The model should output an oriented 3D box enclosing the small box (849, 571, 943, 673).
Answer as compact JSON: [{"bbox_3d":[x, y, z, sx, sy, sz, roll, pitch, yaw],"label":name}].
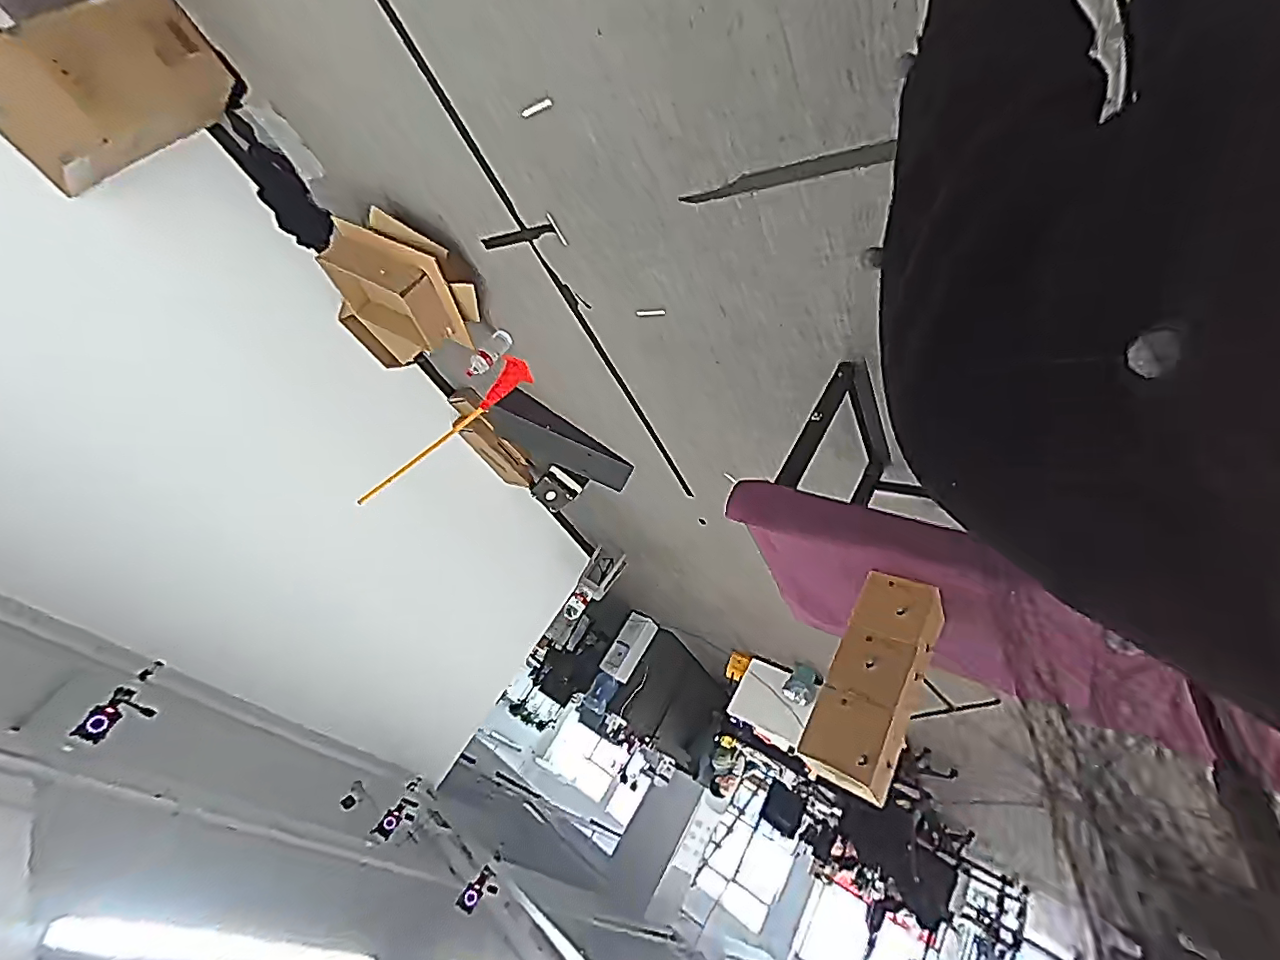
[{"bbox_3d":[0.659,0.357,1.384,0.168,0.176,0.179,12,148,41],"label":"small box"}]

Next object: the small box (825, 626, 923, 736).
[{"bbox_3d":[0.575,0.484,1.322,0.168,0.176,0.179,12,148,41],"label":"small box"}]
